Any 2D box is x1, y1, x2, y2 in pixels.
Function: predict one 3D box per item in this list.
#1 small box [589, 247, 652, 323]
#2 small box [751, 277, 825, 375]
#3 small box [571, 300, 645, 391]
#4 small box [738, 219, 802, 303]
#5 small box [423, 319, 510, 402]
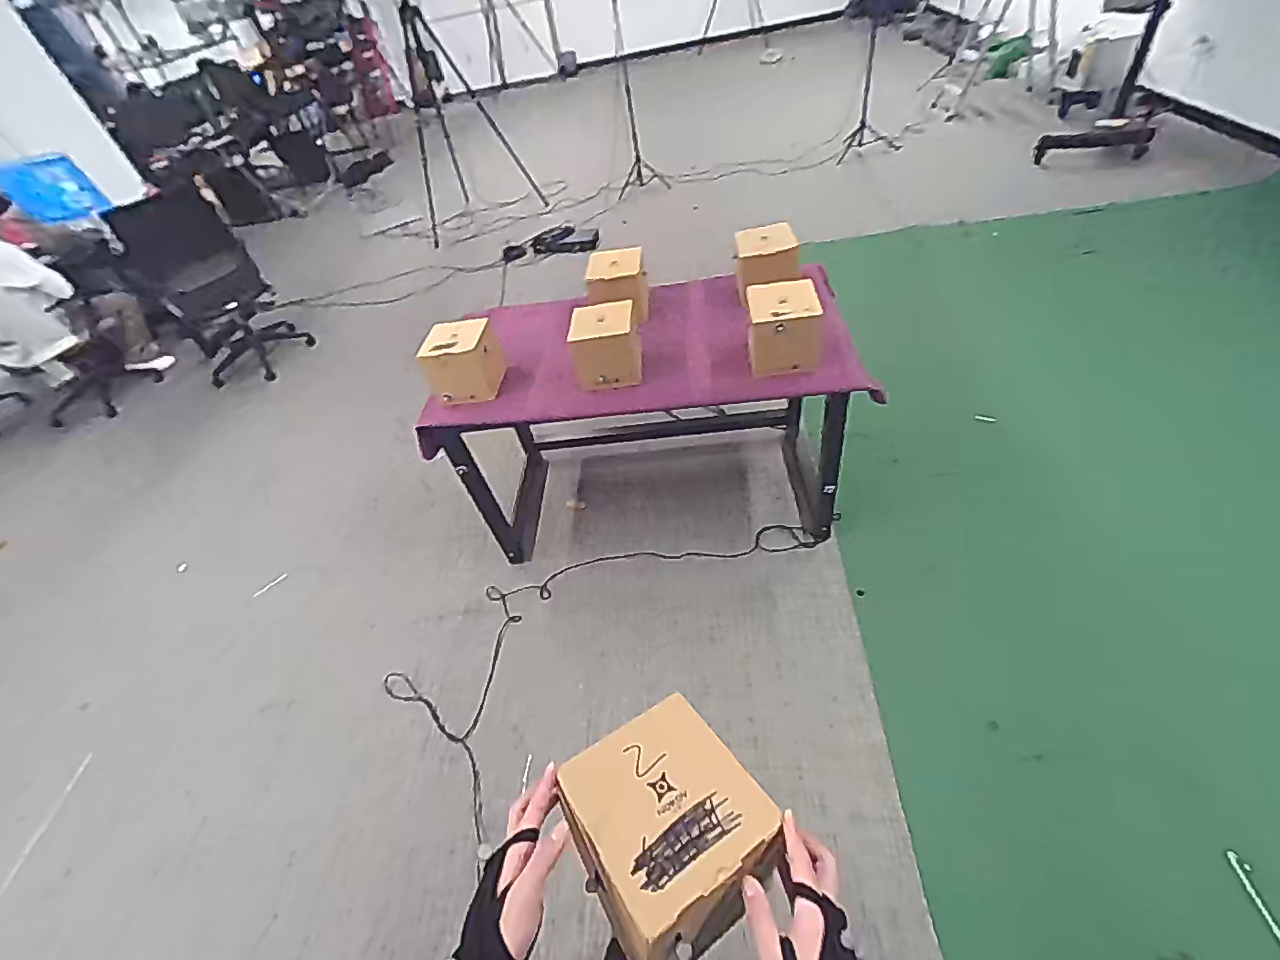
[{"bbox_3d":[-0.055,-0.611,1.712,0.168,0.176,0.179,-4,49,10],"label":"small box"},{"bbox_3d":[0.377,-0.397,1.400,0.168,0.176,0.179,-6,47,11],"label":"small box"},{"bbox_3d":[-0.081,-0.370,1.494,0.168,0.176,0.179,-6,46,10],"label":"small box"},{"bbox_3d":[0.392,-0.659,1.639,0.168,0.176,0.179,-8,47,10],"label":"small box"},{"bbox_3d":[-0.492,-0.337,1.562,0.168,0.176,0.179,-5,45,9],"label":"small box"}]
